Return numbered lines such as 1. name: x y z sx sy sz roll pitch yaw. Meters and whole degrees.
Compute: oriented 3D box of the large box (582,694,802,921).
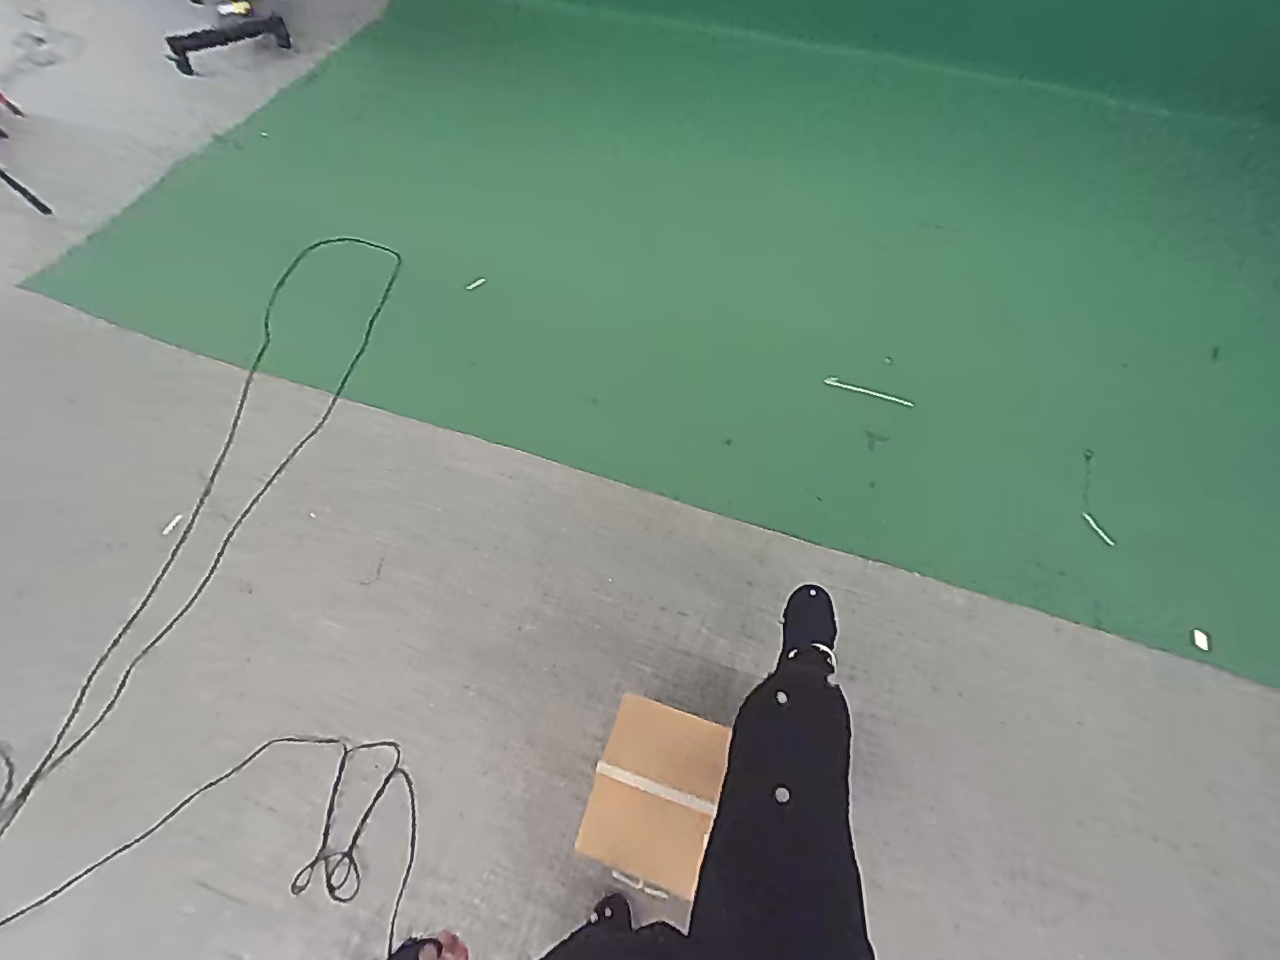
1. large box: 0.111 0.727 1.237 0.408 0.320 0.320 16 61 8
